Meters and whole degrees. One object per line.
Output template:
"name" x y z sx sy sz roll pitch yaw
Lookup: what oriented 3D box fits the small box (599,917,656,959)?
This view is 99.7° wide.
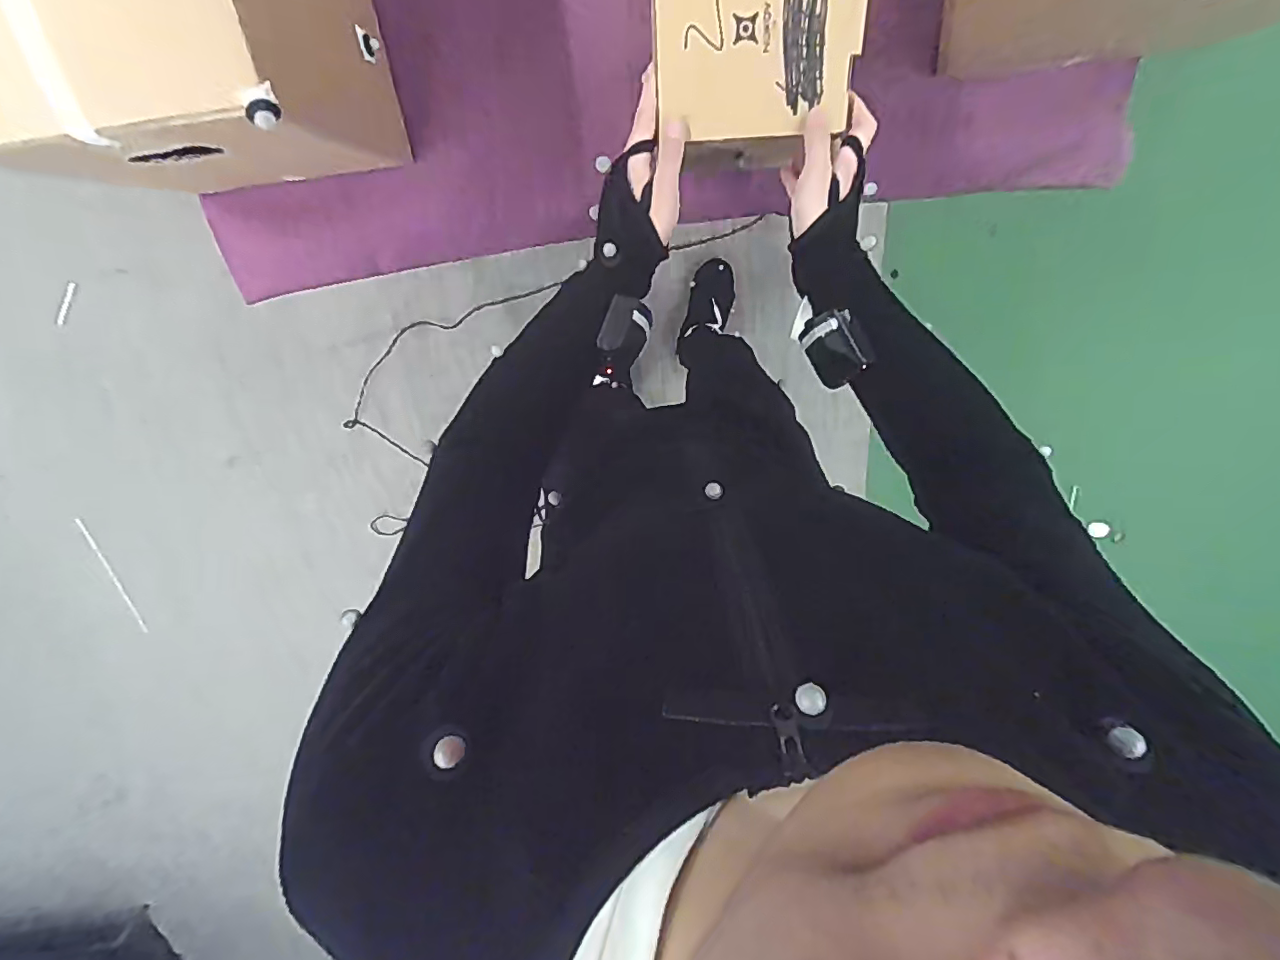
"small box" -0.040 1.643 1.857 0.179 0.176 0.168 -12 114 5
